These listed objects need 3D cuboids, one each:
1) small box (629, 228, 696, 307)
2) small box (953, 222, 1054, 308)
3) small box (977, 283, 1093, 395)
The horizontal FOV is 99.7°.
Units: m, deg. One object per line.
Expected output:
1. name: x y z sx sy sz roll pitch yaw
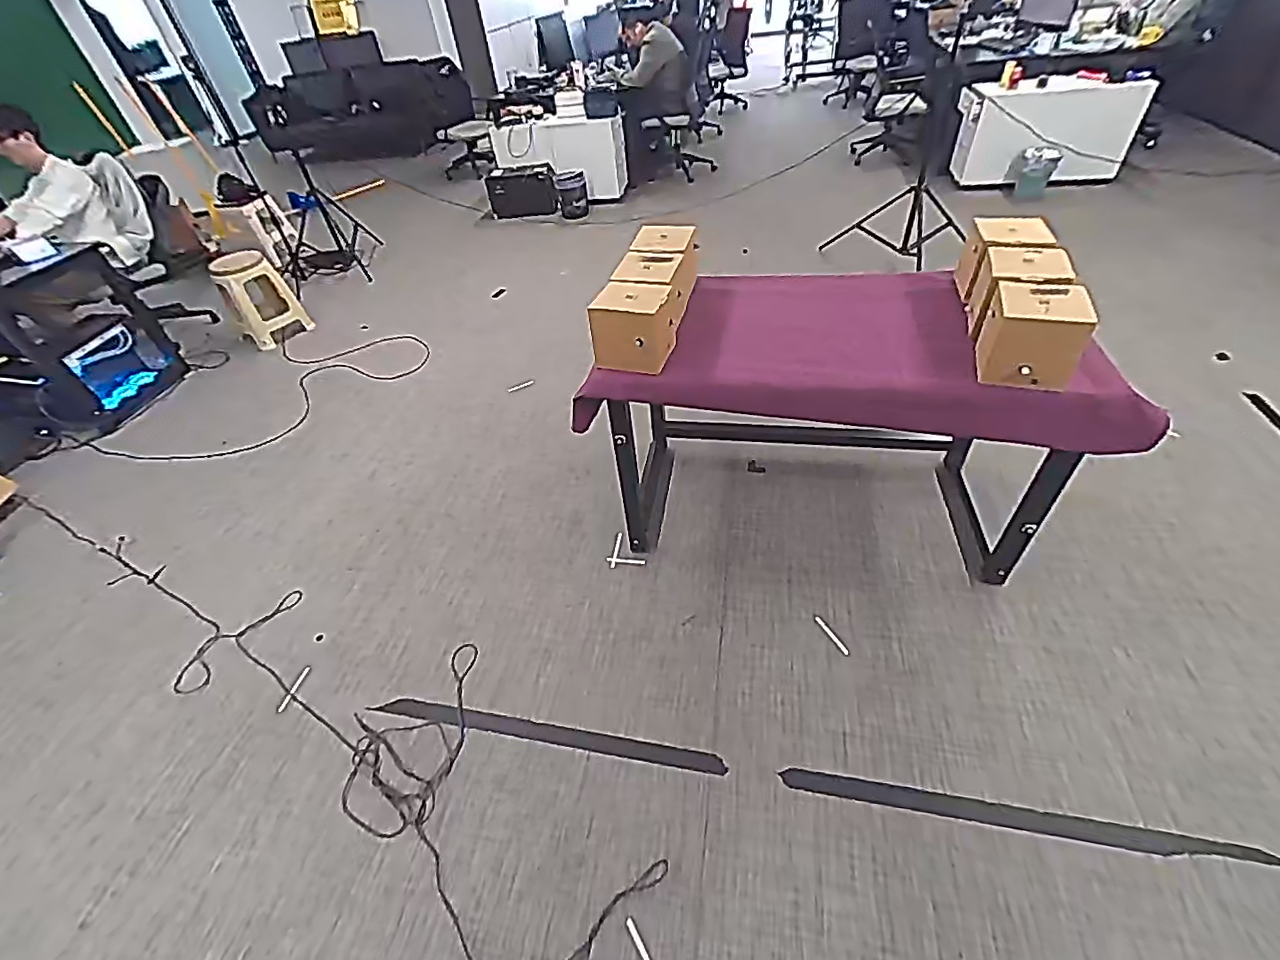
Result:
1. small box: 0.074 -0.650 1.647 0.168 0.176 0.179 7 47 14
2. small box: 0.972 -0.582 1.466 0.168 0.176 0.179 7 45 14
3. small box: 0.868 -0.317 1.205 0.168 0.176 0.179 11 51 22
